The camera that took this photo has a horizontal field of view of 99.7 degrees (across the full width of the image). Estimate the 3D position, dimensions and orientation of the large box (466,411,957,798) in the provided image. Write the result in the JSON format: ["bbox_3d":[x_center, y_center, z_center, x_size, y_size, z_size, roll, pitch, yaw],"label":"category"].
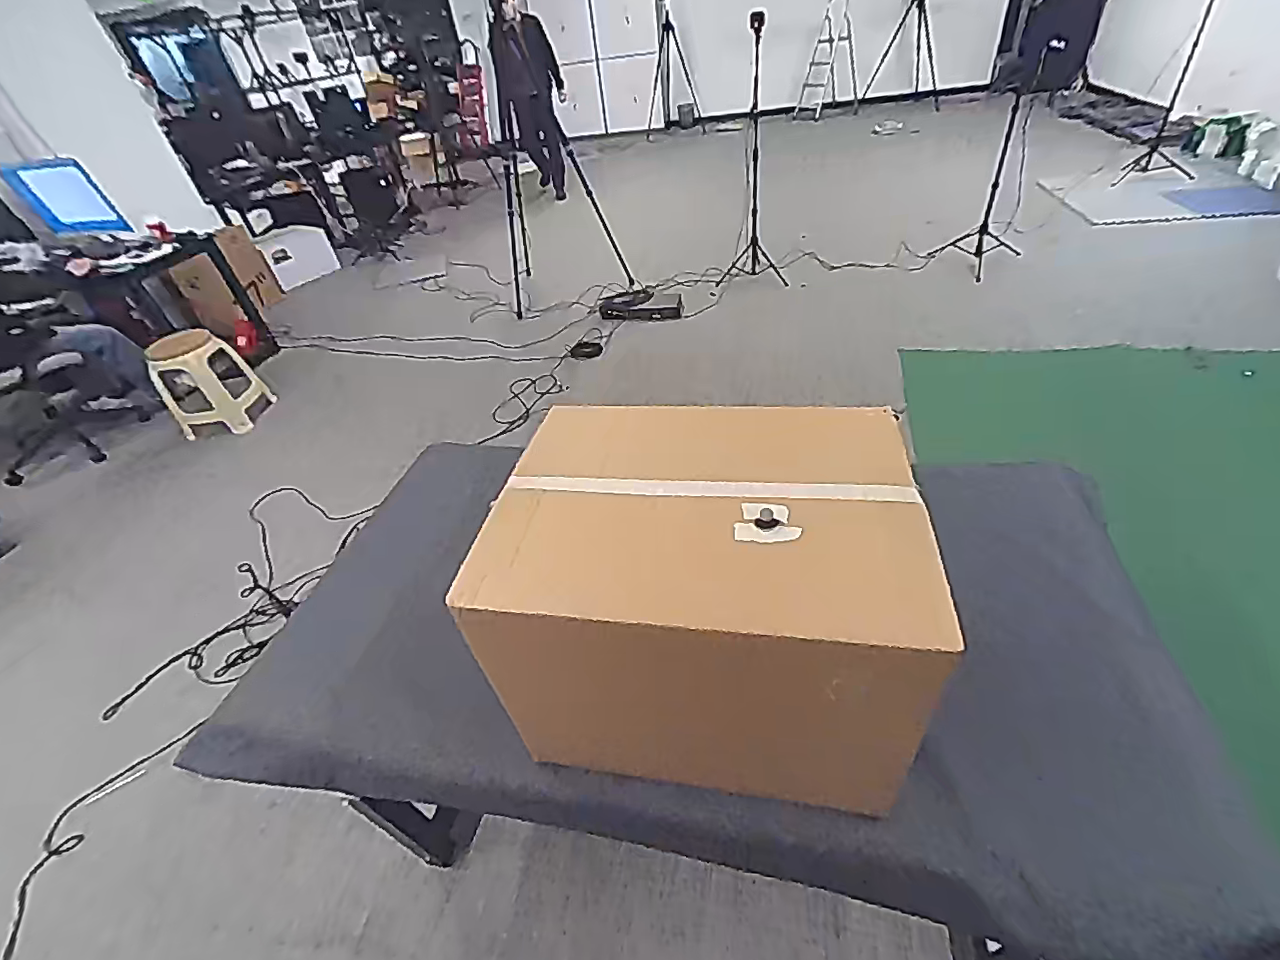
[{"bbox_3d":[0.078,0.129,0.637,0.408,0.320,0.320,2,41,12],"label":"large box"}]
